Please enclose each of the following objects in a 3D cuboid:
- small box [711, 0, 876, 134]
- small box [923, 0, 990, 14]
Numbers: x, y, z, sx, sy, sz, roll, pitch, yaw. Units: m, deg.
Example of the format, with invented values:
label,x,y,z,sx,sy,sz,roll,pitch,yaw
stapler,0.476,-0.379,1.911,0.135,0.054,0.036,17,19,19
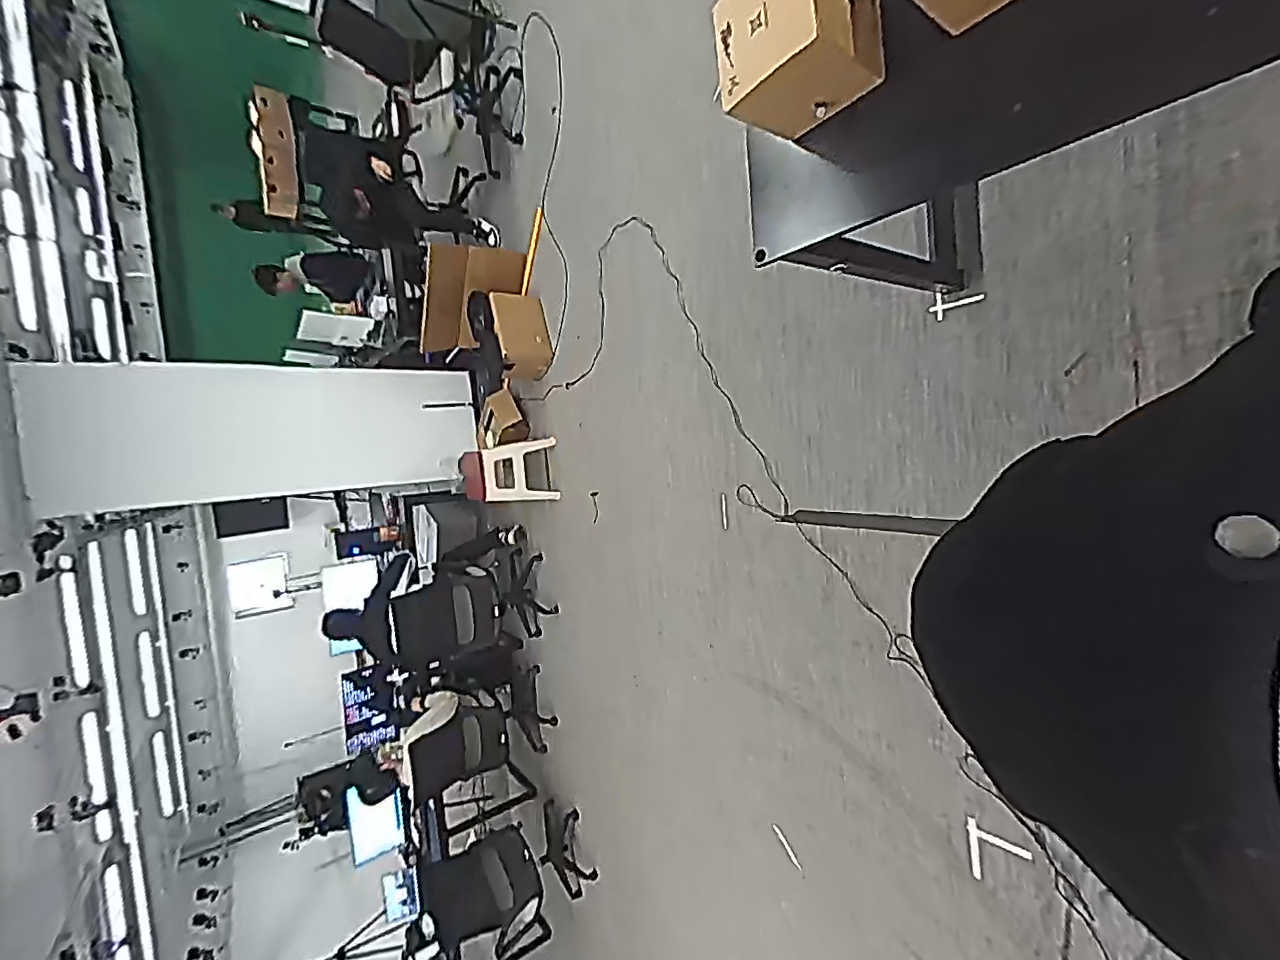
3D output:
label,x,y,z,sx,sy,sz,roll,pitch,yaw
small box,0.233,-0.661,0.806,0.179,0.176,0.168,-3,93,52
small box,0.389,-0.669,0.595,0.168,0.176,0.179,-1,94,53
